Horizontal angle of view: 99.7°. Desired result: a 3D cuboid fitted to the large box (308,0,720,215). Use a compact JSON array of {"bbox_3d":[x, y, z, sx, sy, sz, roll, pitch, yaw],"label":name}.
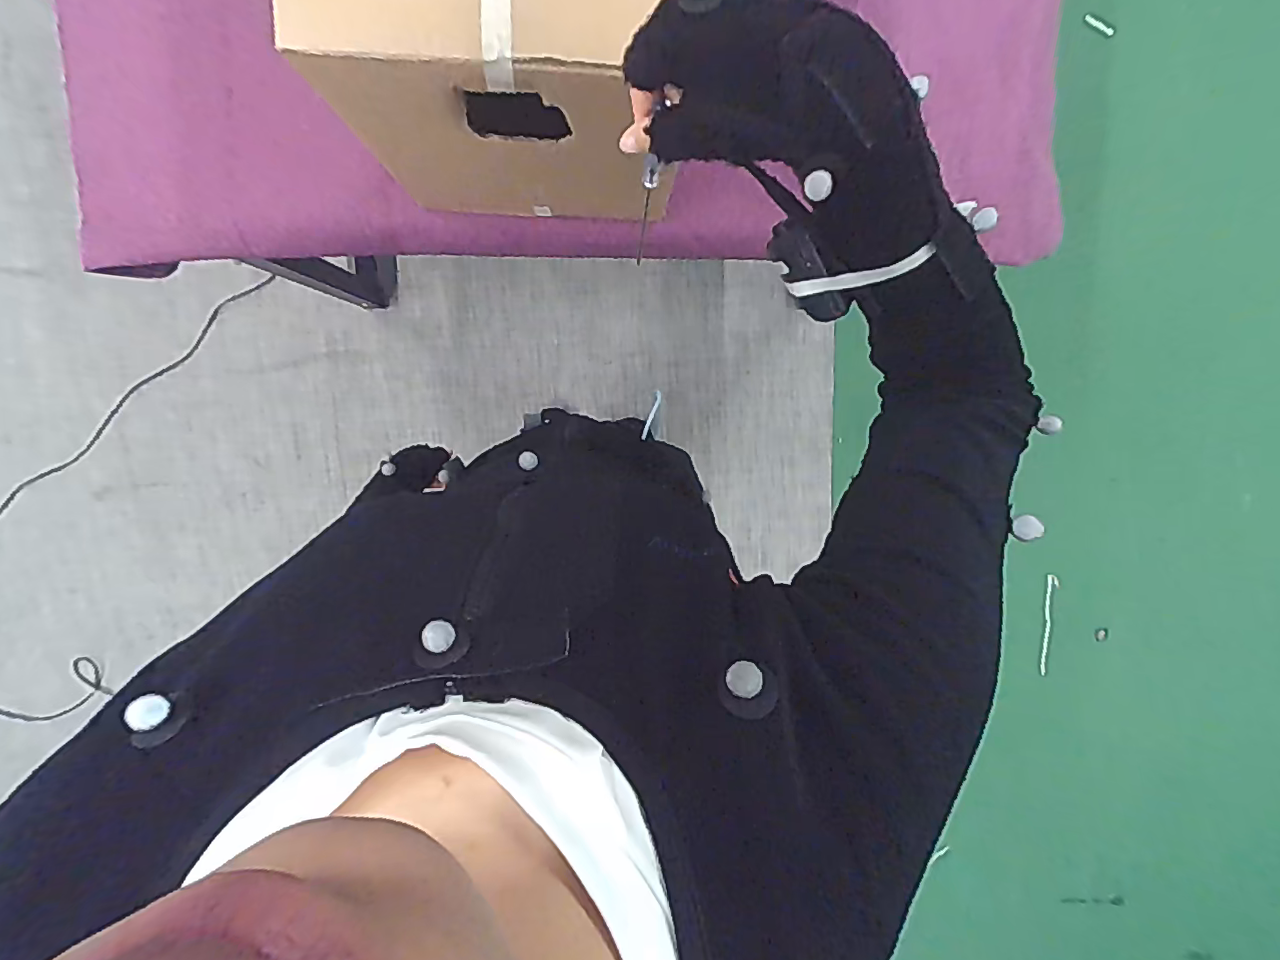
[{"bbox_3d":[-0.100,-0.528,0.530,0.320,0.320,0.408,2,98,-4],"label":"large box"}]
